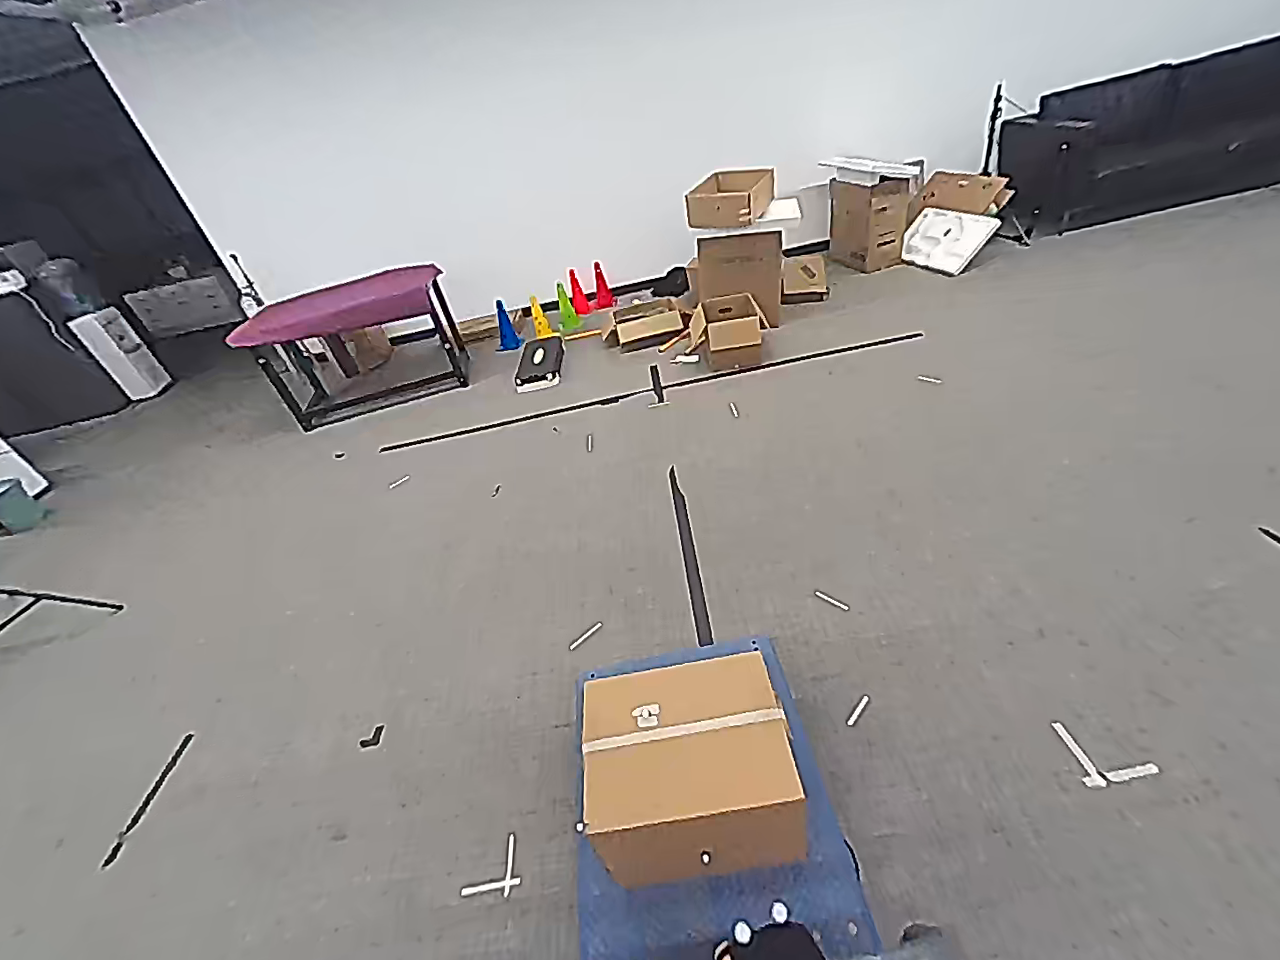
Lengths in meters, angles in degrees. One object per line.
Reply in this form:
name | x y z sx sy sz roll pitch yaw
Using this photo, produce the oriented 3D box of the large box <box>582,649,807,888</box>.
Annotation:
large box | 0.111 0.617 1.162 0.408 0.320 0.320 -13 35 3
